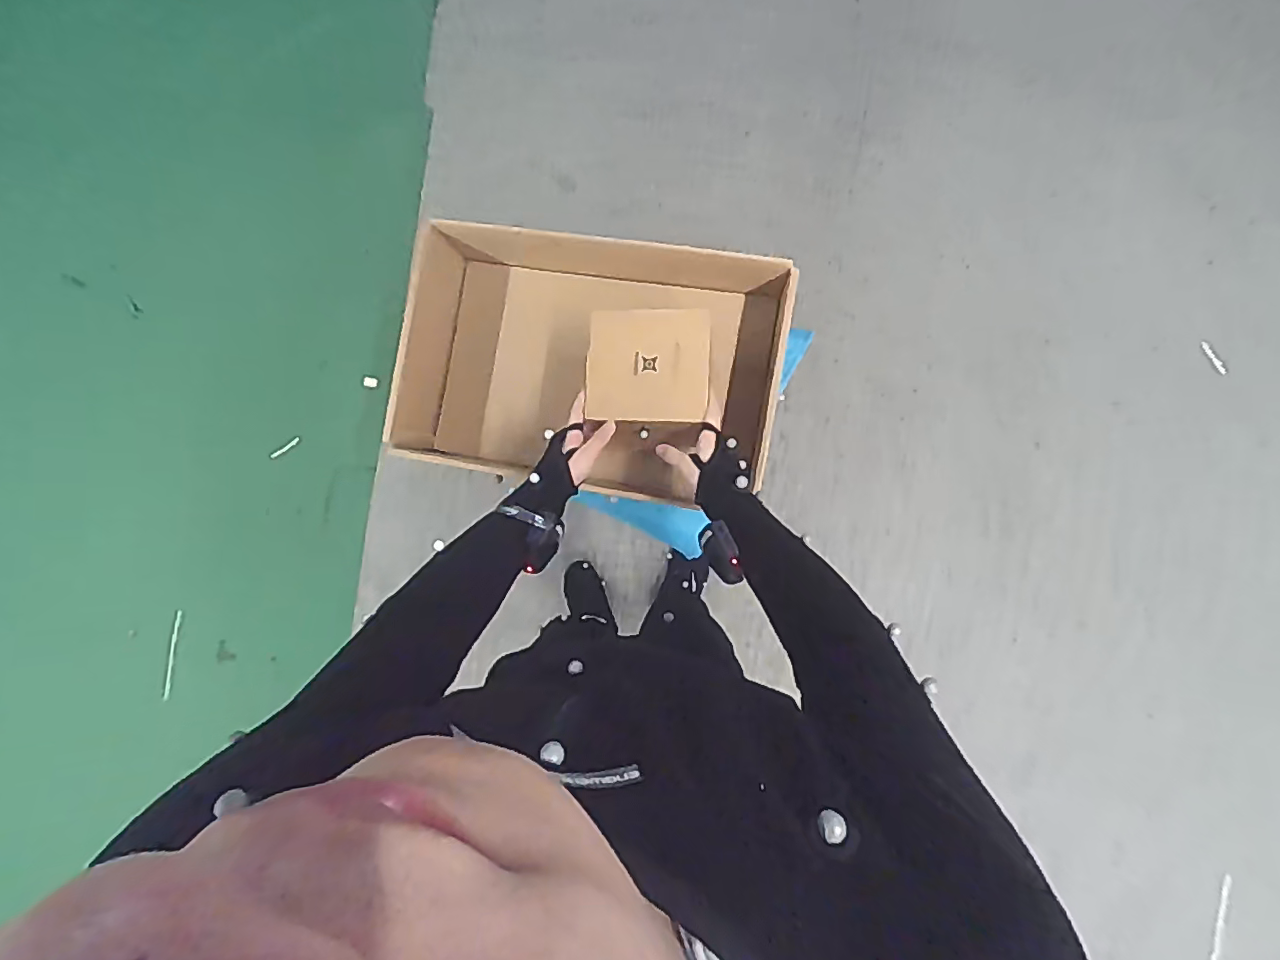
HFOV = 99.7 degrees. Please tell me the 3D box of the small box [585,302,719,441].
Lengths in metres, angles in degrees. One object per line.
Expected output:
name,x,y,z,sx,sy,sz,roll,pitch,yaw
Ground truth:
small box,0.027,-0.158,0.828,0.179,0.176,0.168,2,83,9
